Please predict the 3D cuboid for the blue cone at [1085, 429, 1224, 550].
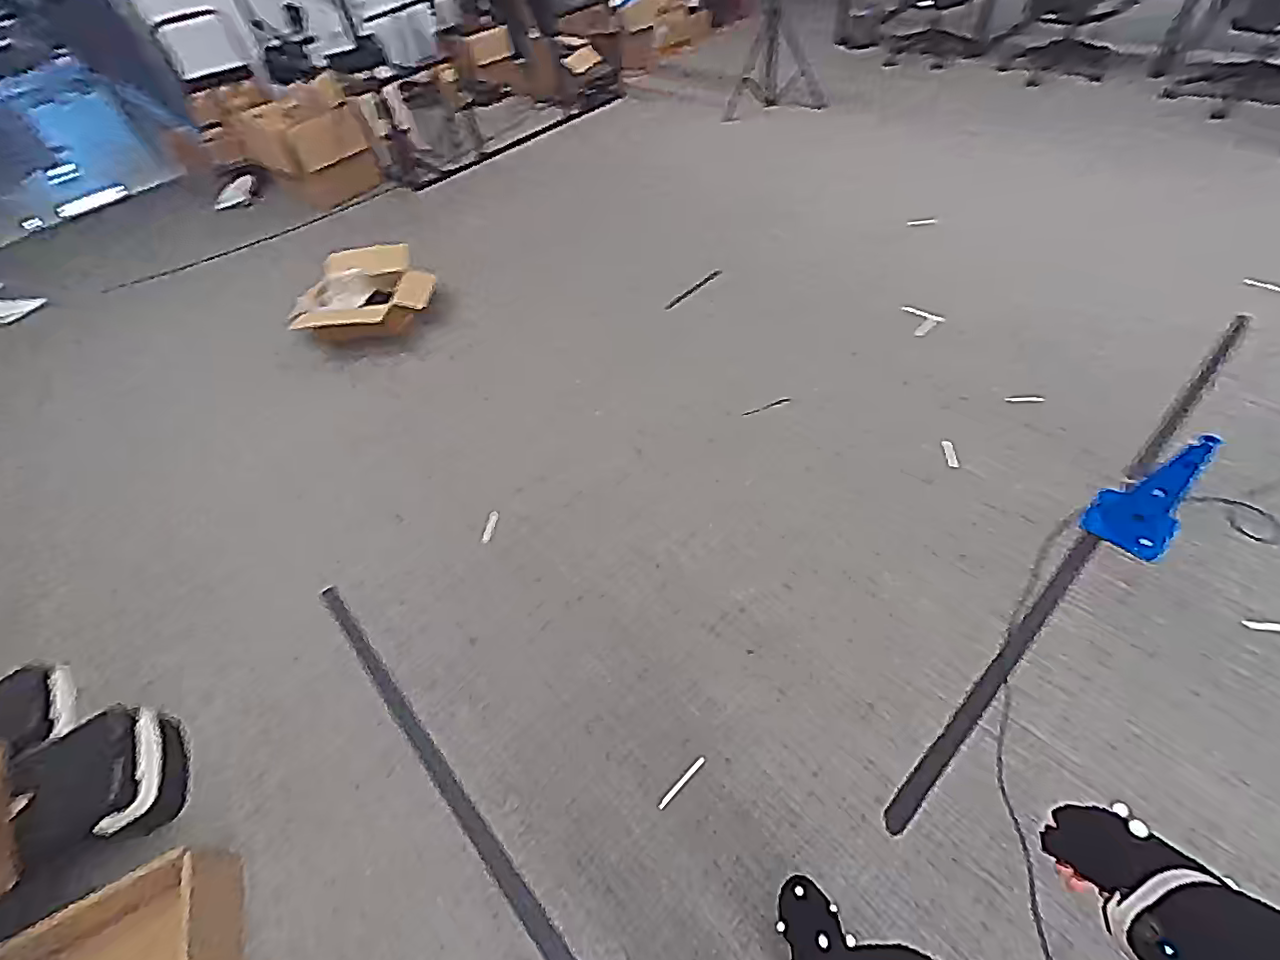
[{"bbox_3d":[1.404,-0.001,1.441,0.192,0.380,0.193,-40,56,-23],"label":"blue cone"}]
